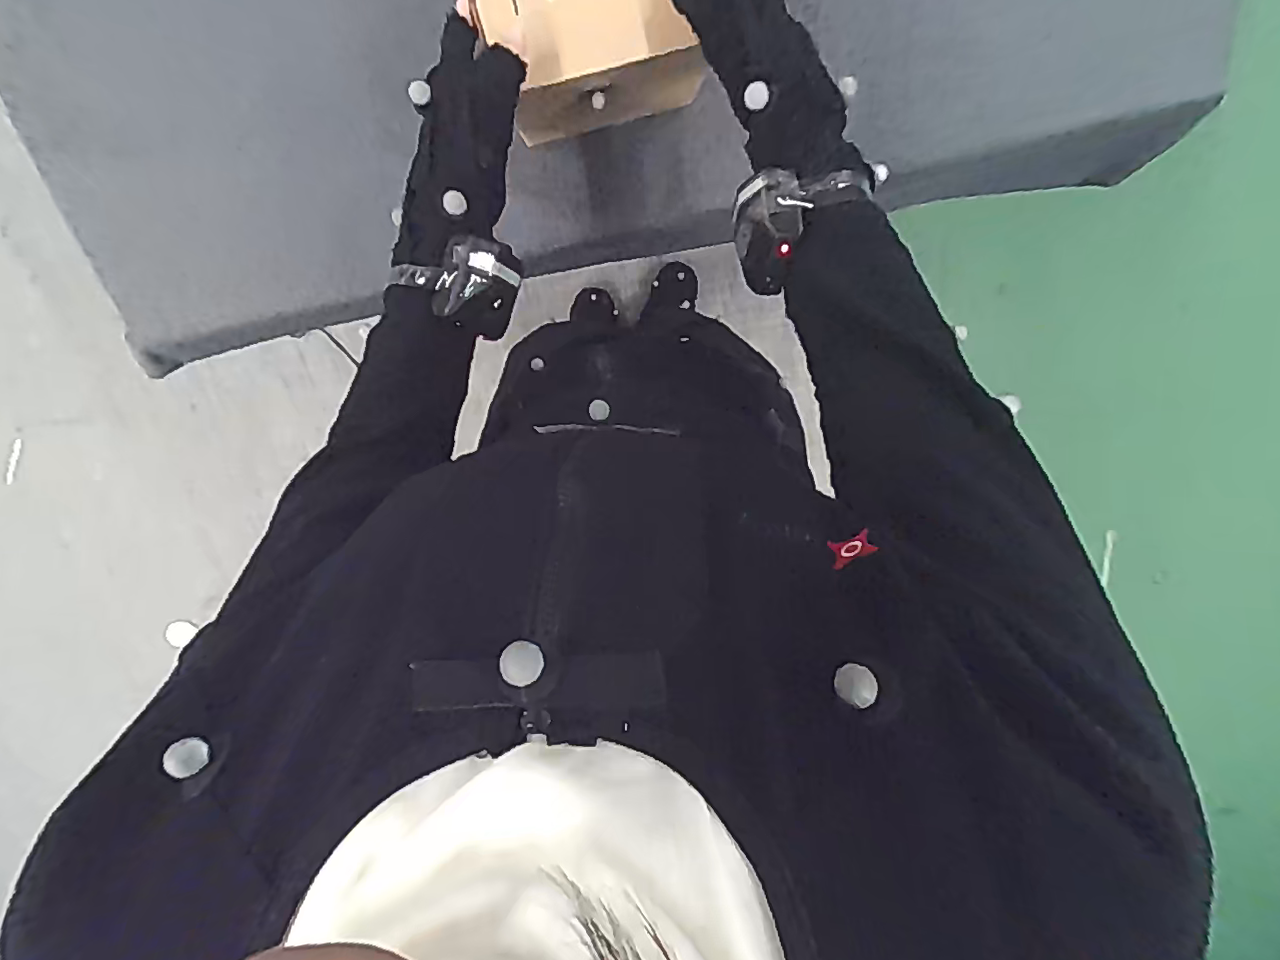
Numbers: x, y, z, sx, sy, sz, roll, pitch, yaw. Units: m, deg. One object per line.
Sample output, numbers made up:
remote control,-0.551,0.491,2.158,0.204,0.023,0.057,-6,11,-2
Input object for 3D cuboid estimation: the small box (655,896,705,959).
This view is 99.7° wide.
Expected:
small box,0.152,1.771,2.112,0.179,0.176,0.168,-8,112,1

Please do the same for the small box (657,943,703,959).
small box,0.159,1.834,1.961,0.168,0.176,0.179,-11,111,-1

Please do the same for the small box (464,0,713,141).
small box,-0.049,-0.408,0.451,0.179,0.176,0.168,-13,111,2
